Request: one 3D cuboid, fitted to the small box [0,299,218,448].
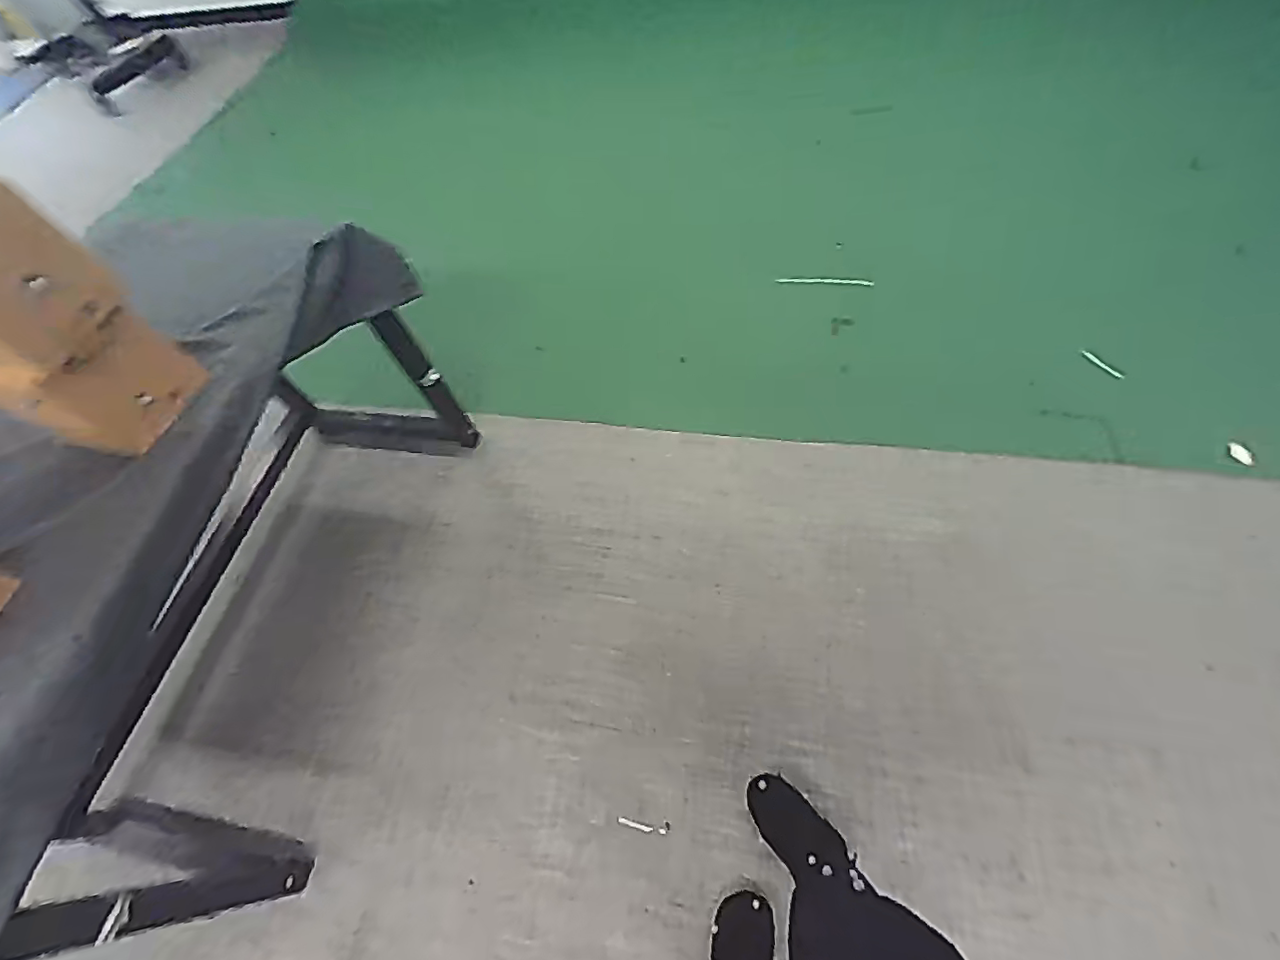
[{"bbox_3d":[-0.815,-0.165,0.823,0.179,0.176,0.168,10,62,14],"label":"small box"}]

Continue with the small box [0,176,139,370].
[{"bbox_3d":[-0.814,-0.256,0.685,0.179,0.176,0.168,6,61,11],"label":"small box"}]
